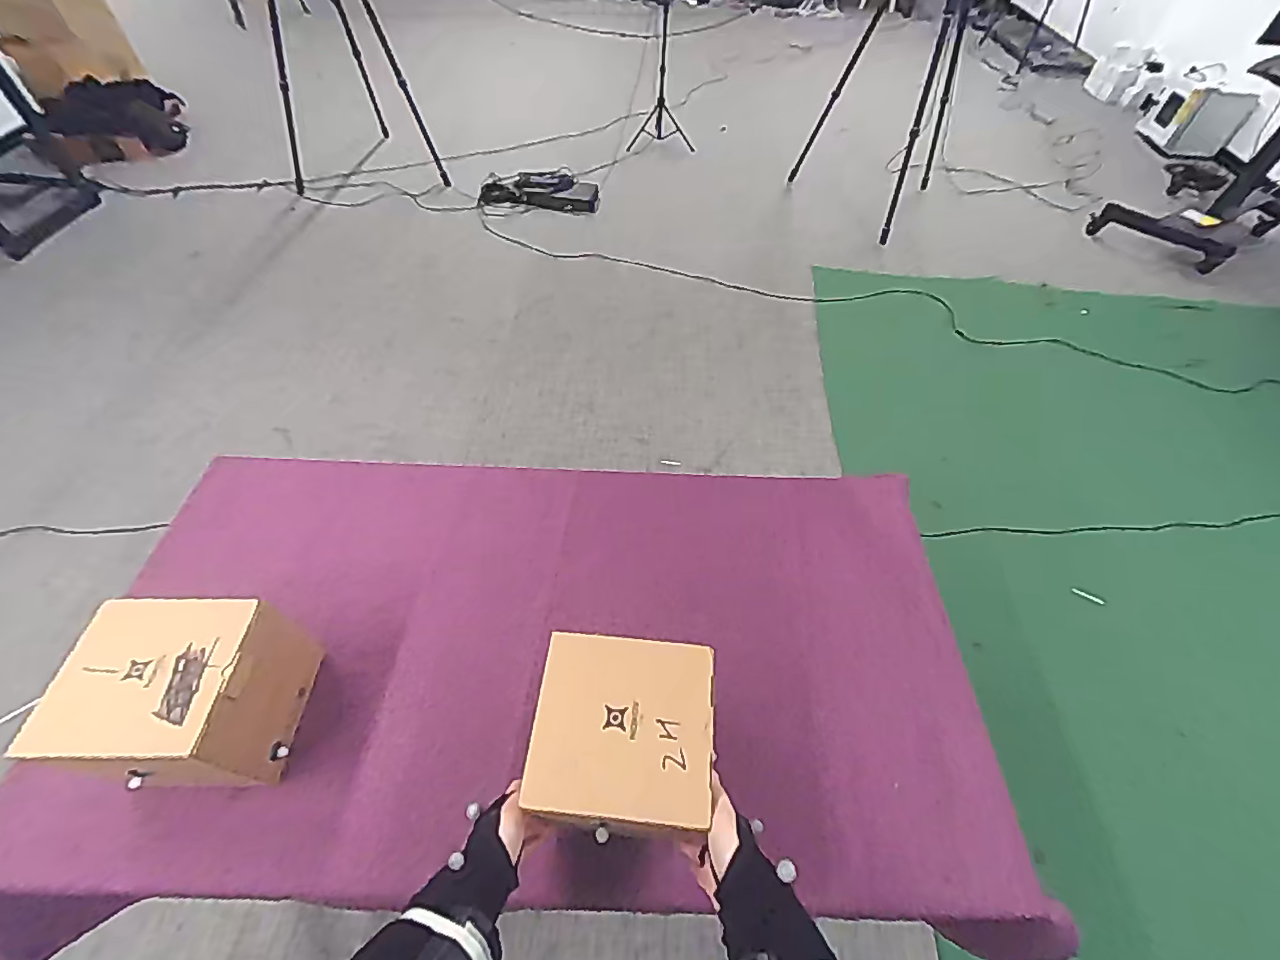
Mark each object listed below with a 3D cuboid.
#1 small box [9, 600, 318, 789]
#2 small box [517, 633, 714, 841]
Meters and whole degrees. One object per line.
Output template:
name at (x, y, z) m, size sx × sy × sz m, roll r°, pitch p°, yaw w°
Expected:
small box at (-0.515, 0.250, 0.625) m, size 0.179 × 0.176 × 0.168 m, roll 0°, pitch 52°, yaw -1°
small box at (-0.017, 0.283, 0.588) m, size 0.179 × 0.176 × 0.168 m, roll 5°, pitch 53°, yaw 3°
